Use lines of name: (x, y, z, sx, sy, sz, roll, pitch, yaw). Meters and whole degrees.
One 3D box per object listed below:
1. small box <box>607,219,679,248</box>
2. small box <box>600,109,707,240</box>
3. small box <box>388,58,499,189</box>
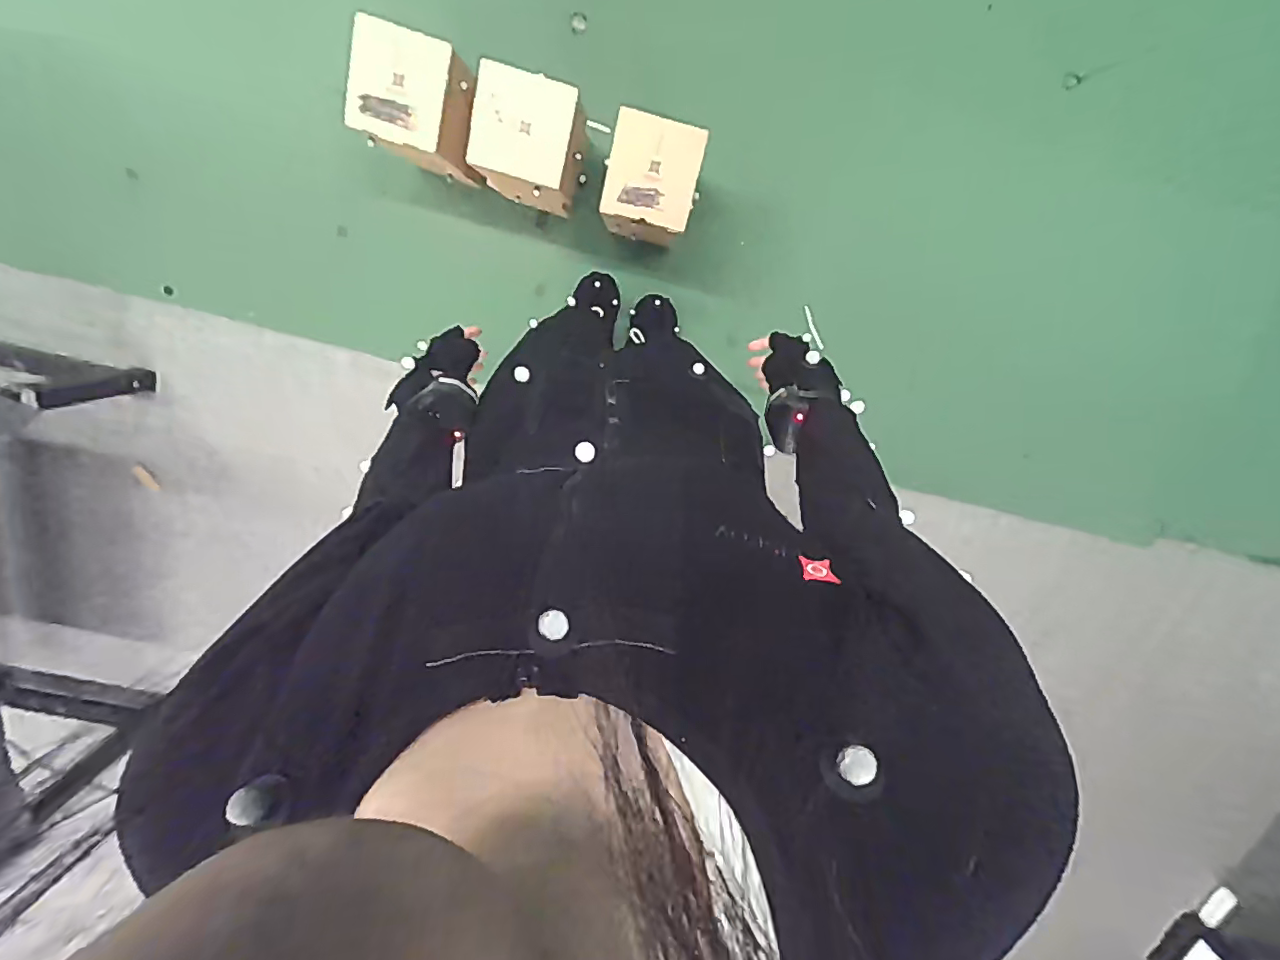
small box: (0.025, -0.641, 1.223, 0.168, 0.176, 0.179, 14, 109, -4)
small box: (0.025, -0.587, 1.067, 0.168, 0.176, 0.179, 13, 108, -5)
small box: (-0.422, -0.764, 1.185, 0.168, 0.176, 0.179, 18, 108, -6)
